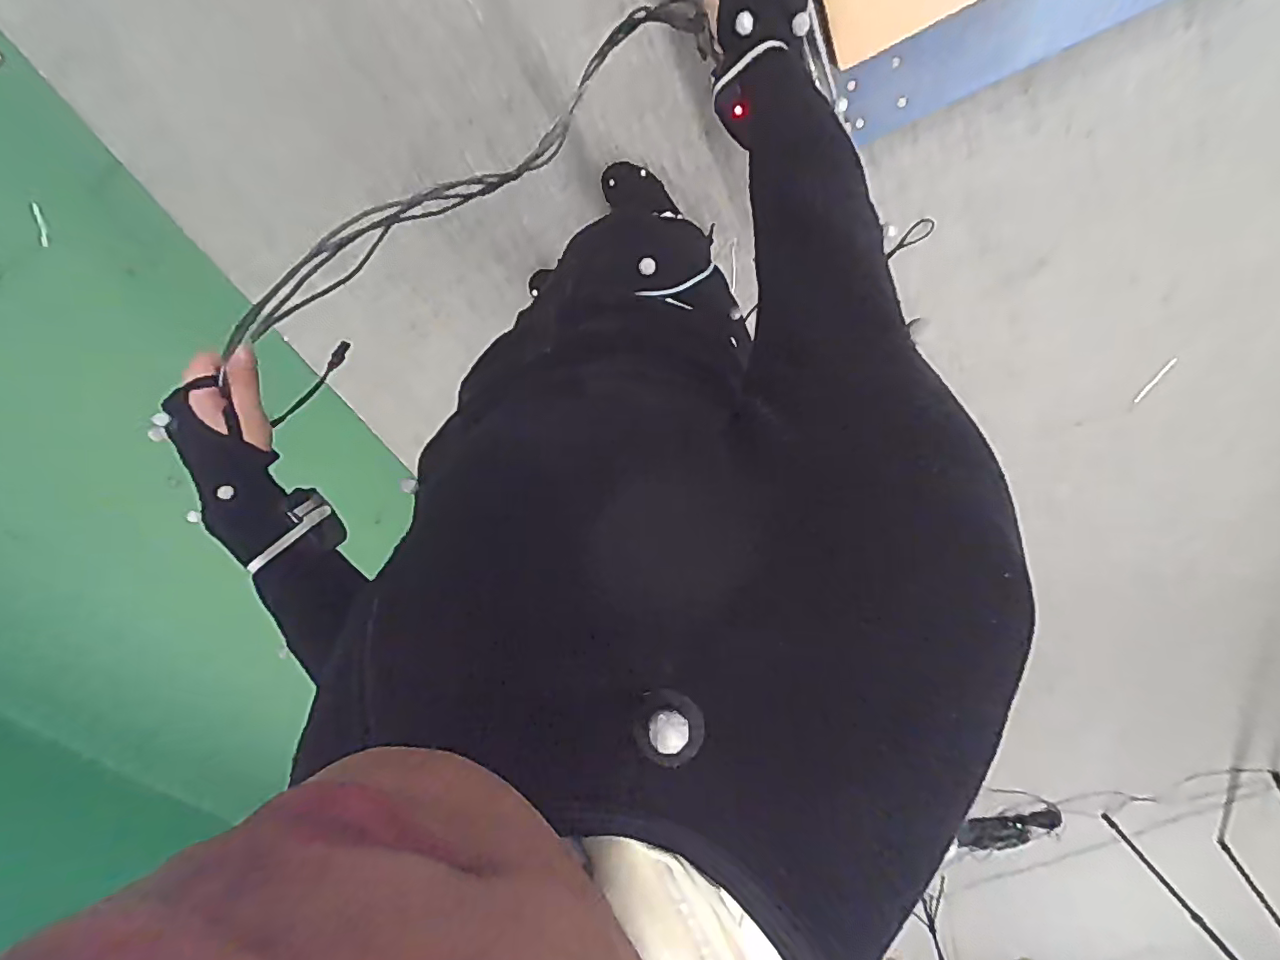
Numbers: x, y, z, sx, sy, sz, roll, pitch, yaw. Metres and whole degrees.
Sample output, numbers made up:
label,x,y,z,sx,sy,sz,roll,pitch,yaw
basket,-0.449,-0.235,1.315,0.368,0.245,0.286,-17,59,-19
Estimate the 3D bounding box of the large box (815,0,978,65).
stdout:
label,x,y,z,sx,sy,sz,roll,pitch,yaw
large box,0.444,-0.874,0.770,0.408,0.320,0.320,-15,125,24
